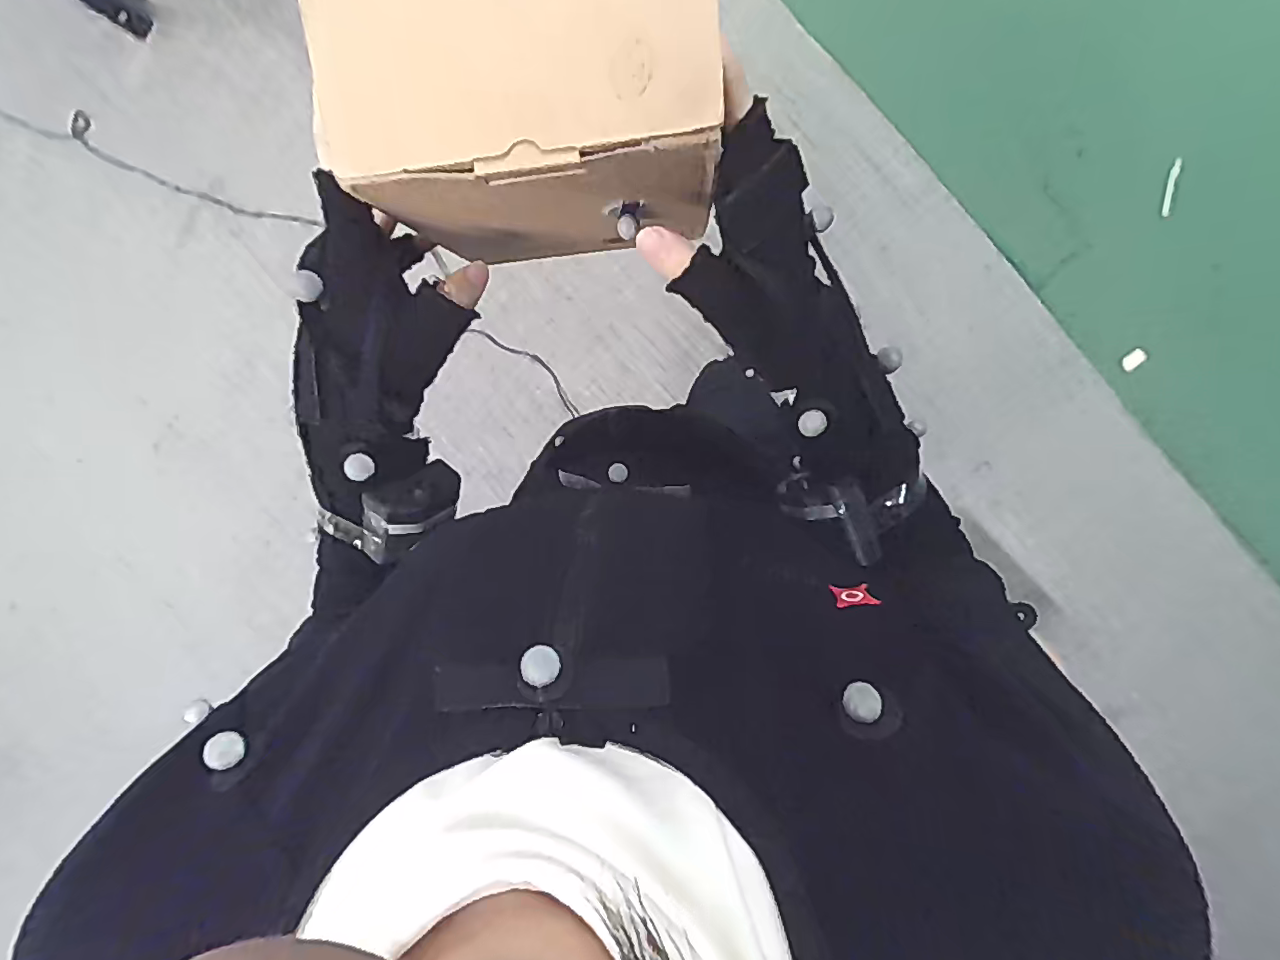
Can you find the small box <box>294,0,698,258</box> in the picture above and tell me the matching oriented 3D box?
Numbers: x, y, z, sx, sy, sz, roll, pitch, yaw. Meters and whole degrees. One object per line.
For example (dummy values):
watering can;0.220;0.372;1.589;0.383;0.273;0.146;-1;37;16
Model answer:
small box;-0.058;-0.231;0.294;0.168;0.176;0.179;-6;99;4
